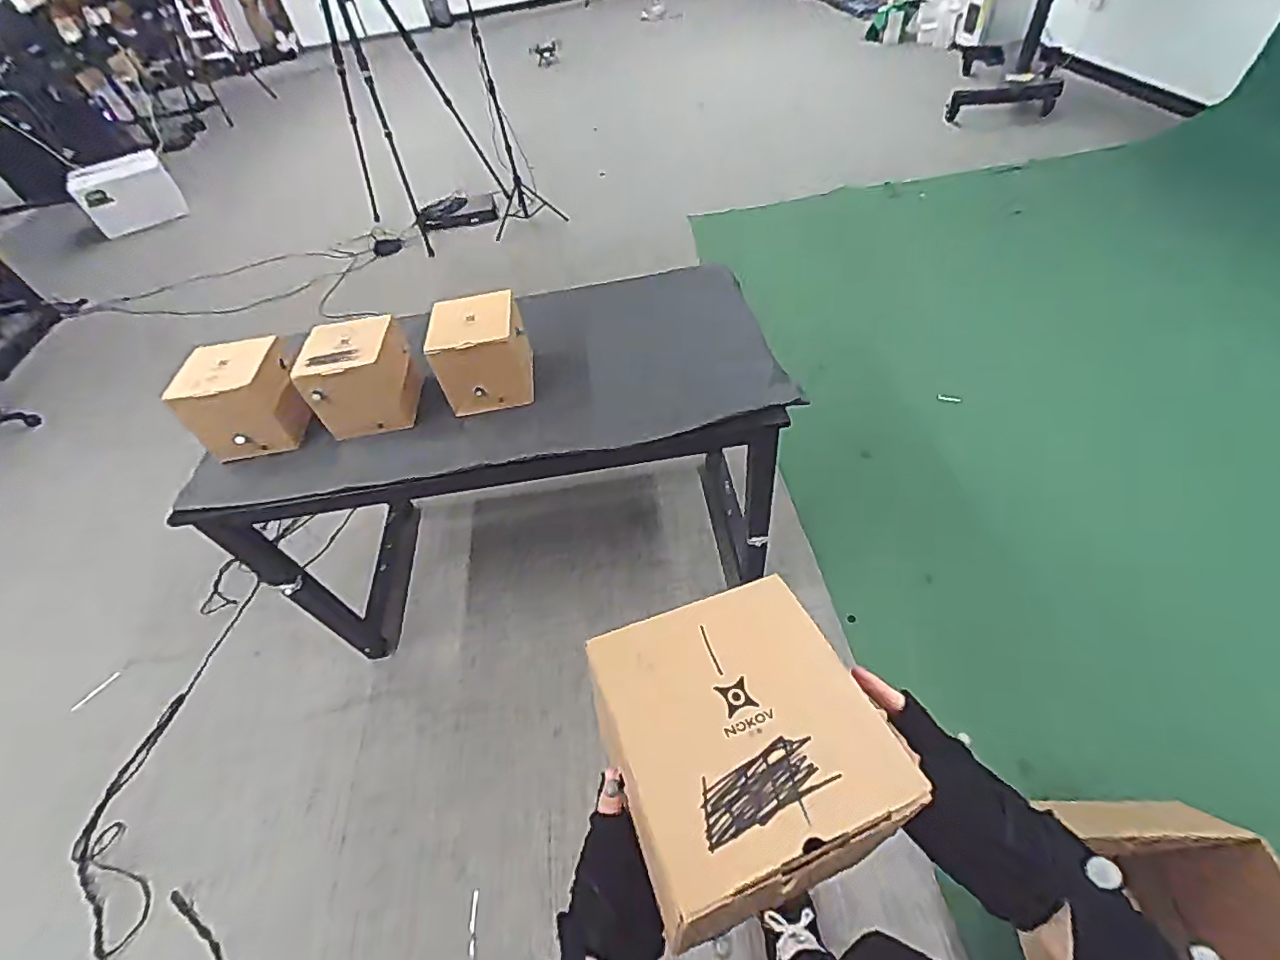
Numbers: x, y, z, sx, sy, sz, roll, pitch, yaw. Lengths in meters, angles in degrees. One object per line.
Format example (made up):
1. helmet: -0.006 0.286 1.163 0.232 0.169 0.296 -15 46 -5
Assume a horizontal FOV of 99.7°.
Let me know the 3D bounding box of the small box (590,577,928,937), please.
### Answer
1. small box: 0.069 0.210 0.413 0.168 0.176 0.179 -15 45 -15

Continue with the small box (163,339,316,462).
1. small box: -0.803 -0.162 1.110 0.168 0.176 0.179 -10 48 -2

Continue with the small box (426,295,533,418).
1. small box: -0.325 -0.256 1.129 0.168 0.176 0.179 -10 50 -1
